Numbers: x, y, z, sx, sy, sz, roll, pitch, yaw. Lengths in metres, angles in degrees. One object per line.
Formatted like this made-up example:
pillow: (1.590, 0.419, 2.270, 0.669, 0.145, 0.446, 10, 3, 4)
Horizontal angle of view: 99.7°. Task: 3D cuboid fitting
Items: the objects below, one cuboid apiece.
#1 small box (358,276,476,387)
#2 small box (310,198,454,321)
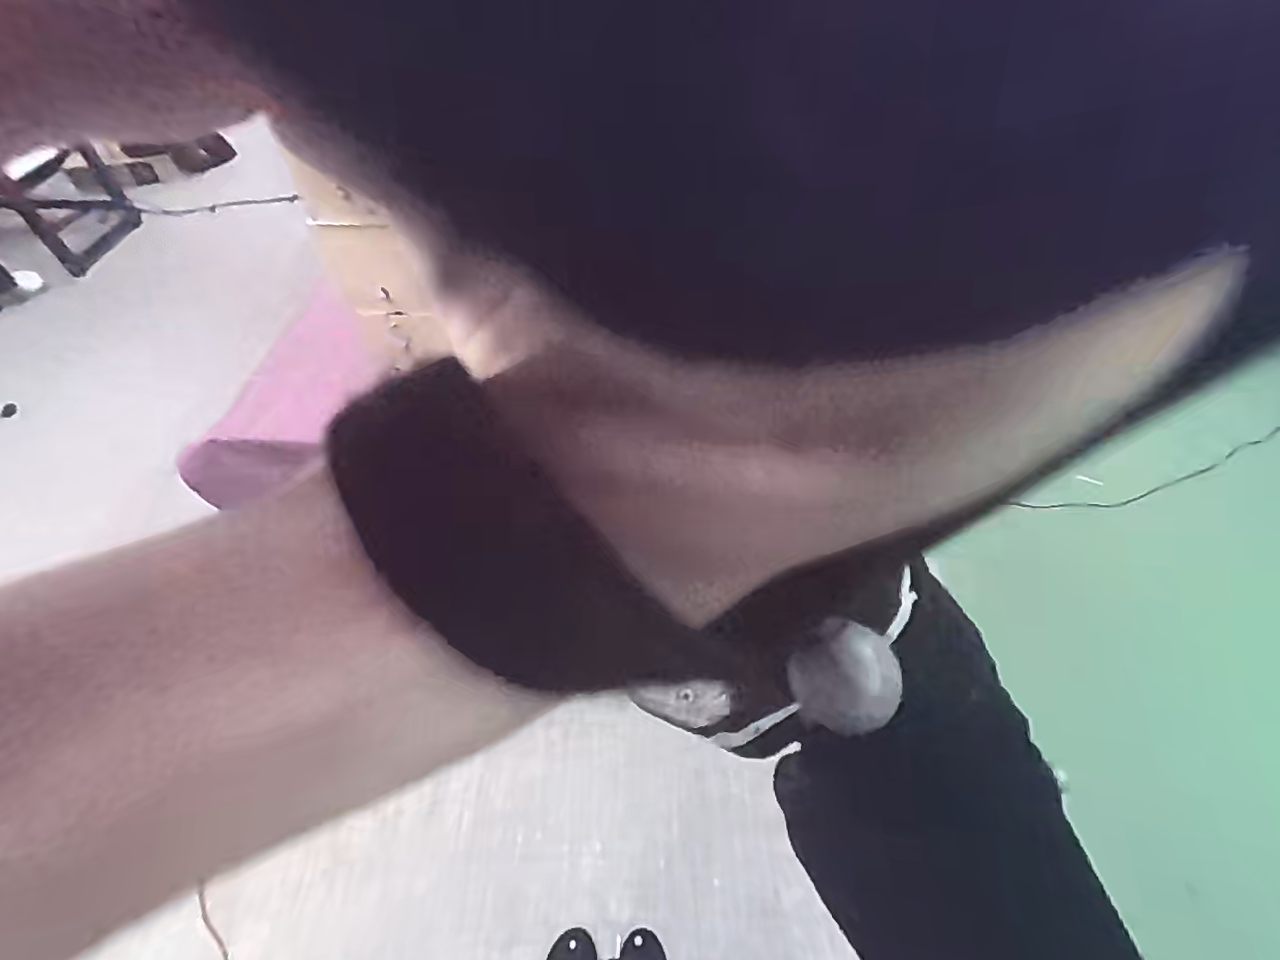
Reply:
small box: (-0.459, -0.313, 1.146, 0.168, 0.176, 0.179, 1, 49, -1)
small box: (-0.468, -0.417, 1.019, 0.179, 0.176, 0.168, 2, 50, 0)
